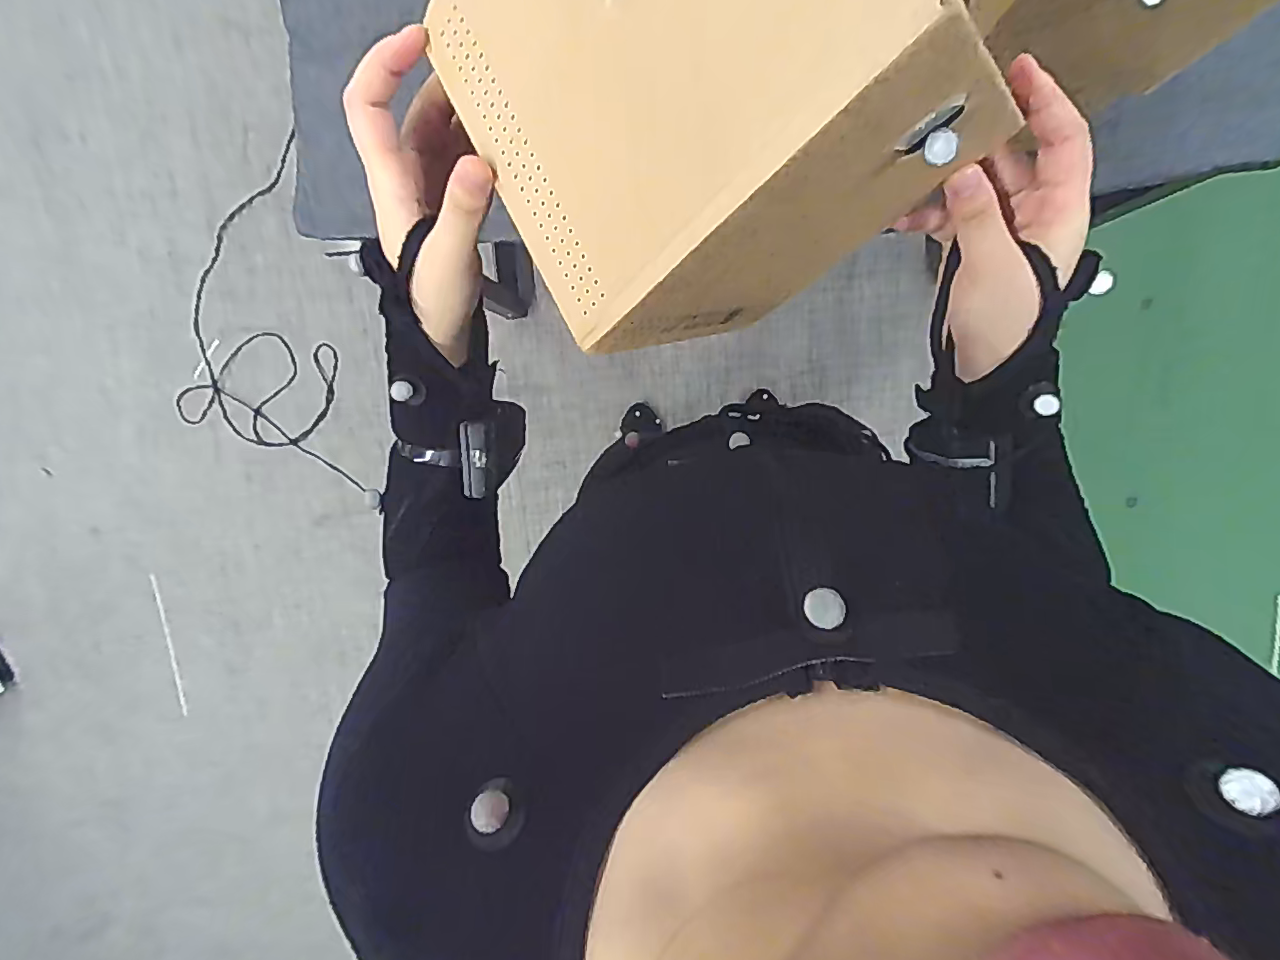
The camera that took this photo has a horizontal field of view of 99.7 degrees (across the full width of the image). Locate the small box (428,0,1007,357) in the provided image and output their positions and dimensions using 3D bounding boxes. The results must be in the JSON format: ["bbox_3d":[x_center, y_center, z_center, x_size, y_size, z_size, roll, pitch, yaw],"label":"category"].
[{"bbox_3d":[0.031,-0.183,0.255,0.176,0.168,0.179,-31,85,43],"label":"small box"}]

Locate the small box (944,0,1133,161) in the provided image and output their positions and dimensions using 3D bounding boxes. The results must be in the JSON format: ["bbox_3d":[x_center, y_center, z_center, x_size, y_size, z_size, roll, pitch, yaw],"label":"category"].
[{"bbox_3d":[0.396,-0.467,0.571,0.168,0.176,0.179,-2,97,6],"label":"small box"}]

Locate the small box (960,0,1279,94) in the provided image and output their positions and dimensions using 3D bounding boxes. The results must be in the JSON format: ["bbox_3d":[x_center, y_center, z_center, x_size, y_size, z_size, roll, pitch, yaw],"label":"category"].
[{"bbox_3d":[0.383,-0.432,0.412,0.179,0.176,0.168,9,97,5],"label":"small box"}]
